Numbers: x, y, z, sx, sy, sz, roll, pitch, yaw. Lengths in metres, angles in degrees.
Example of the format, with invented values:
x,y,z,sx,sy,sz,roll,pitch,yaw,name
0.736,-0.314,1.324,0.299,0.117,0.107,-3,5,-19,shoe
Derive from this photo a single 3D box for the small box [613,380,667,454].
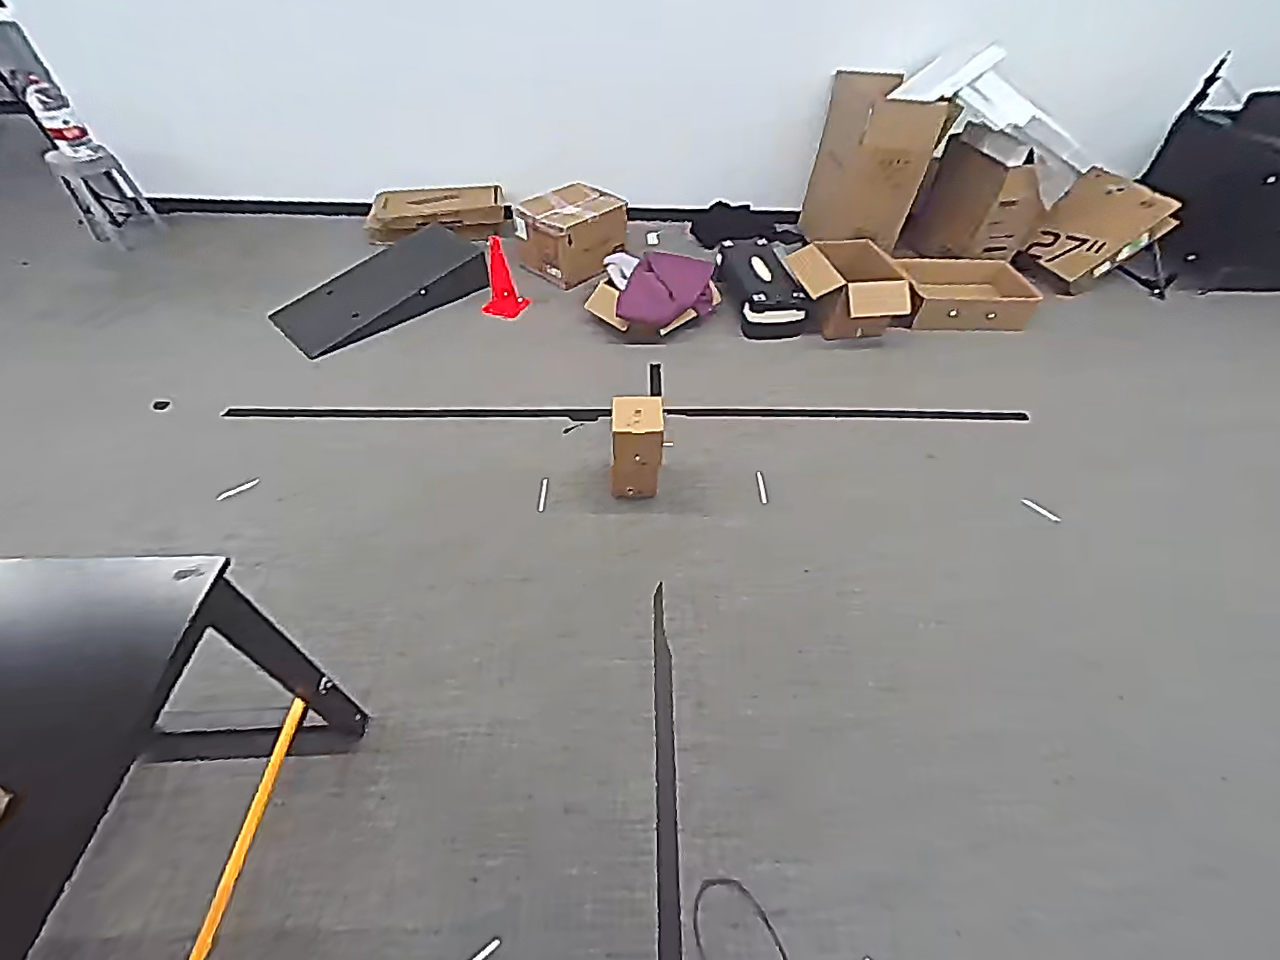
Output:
x,y,z,sx,sy,sz,roll,pitch,yaw,name
-0.005,-0.202,1.743,0.168,0.176,0.179,-1,48,-2,small box

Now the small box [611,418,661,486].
x,y,z,sx,sy,sz,roll,pitch,yaw,name
-0.017,-0.098,1.871,0.168,0.176,0.179,-1,49,-2,small box
